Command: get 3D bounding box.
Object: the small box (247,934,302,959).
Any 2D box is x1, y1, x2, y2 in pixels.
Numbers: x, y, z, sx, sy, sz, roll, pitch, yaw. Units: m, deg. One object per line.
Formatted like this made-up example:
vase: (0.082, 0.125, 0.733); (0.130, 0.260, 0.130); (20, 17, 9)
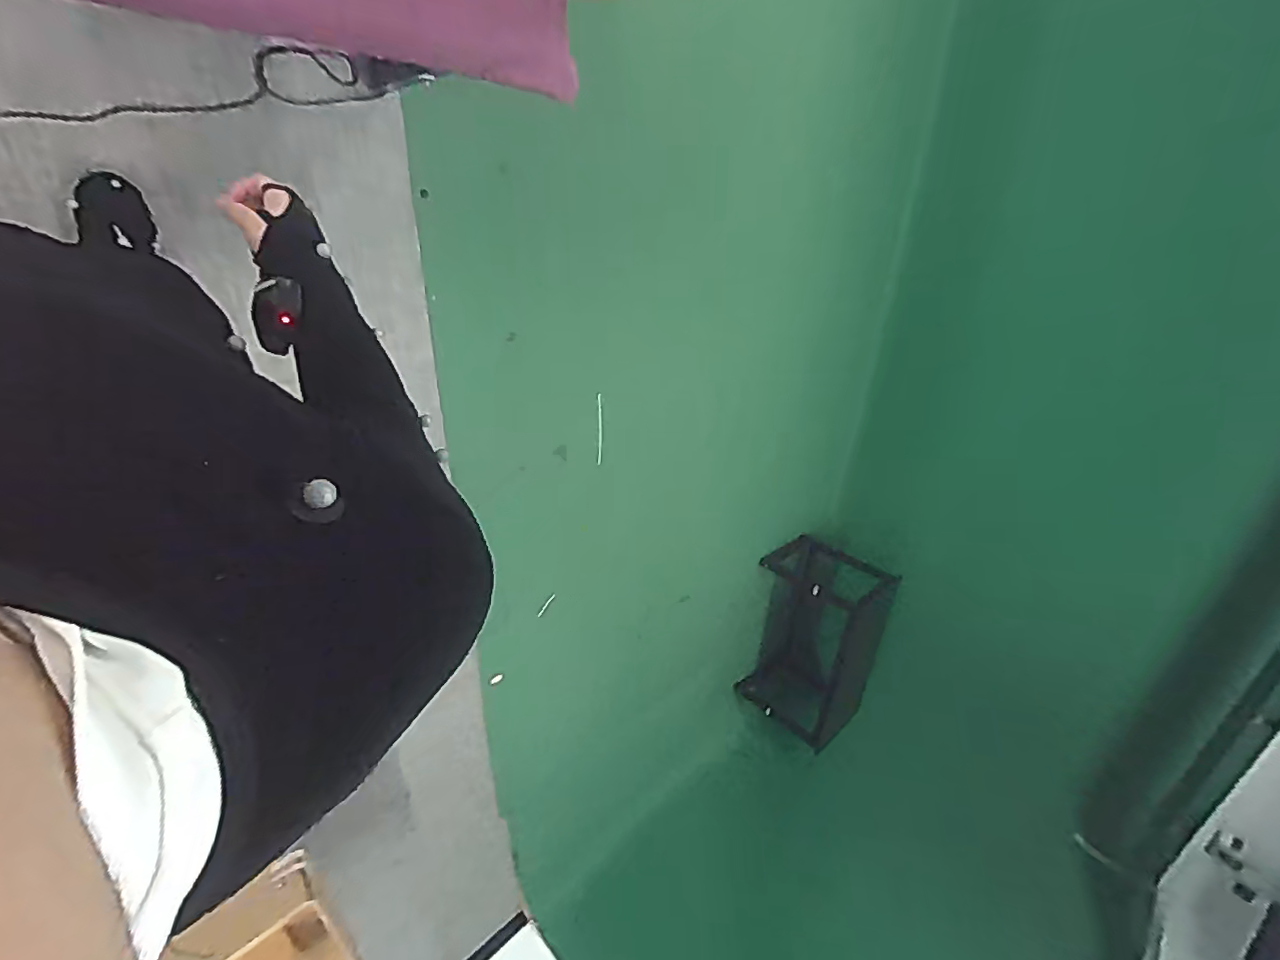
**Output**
small box: (-1.000, 1.383, 1.446); (0.179, 0.176, 0.168); (-25, 128, -37)
